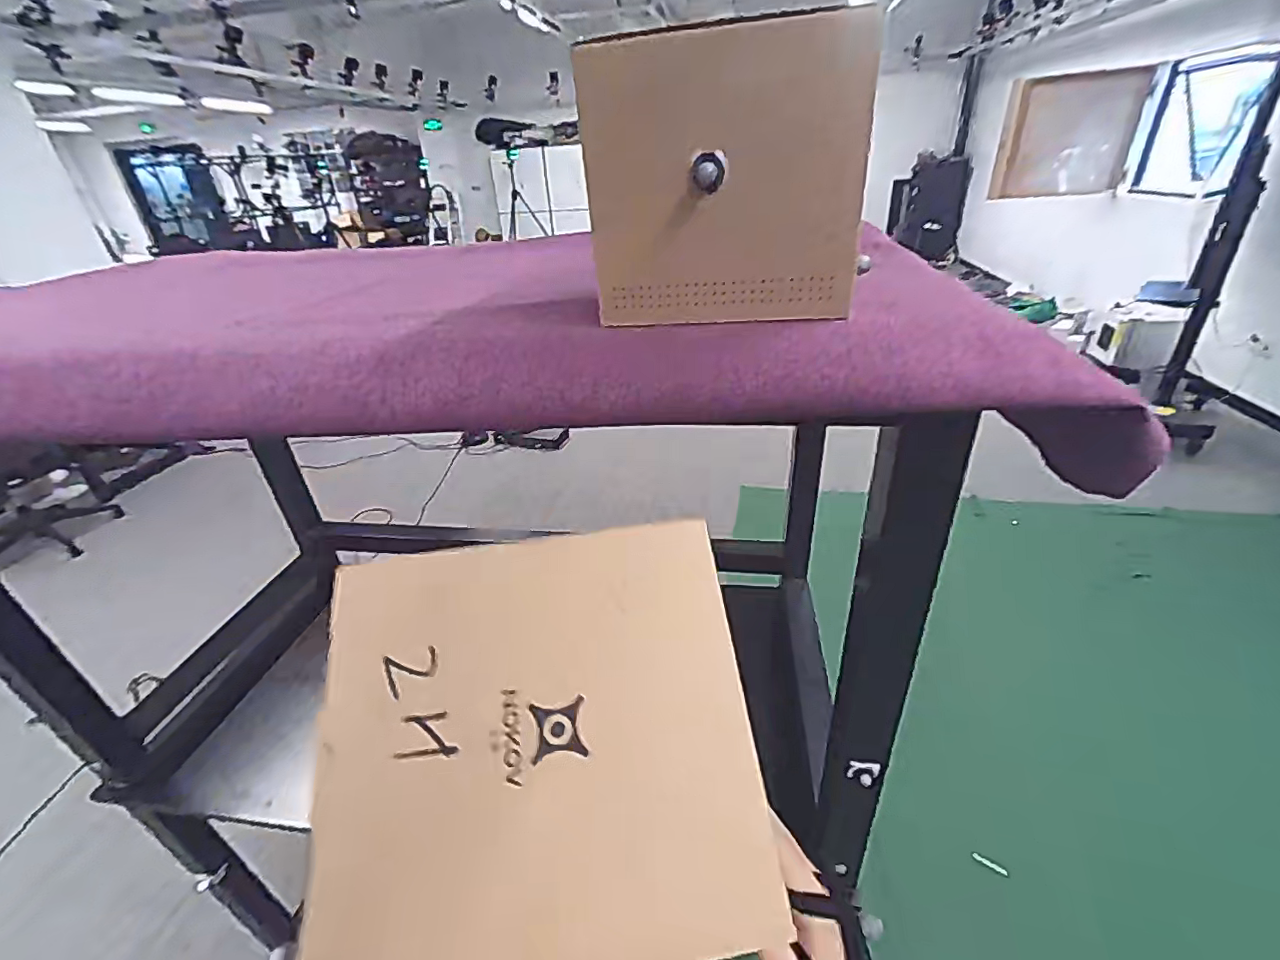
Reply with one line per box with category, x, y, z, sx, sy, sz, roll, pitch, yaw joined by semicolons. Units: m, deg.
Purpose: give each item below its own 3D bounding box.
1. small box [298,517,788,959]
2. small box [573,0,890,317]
small box;-0.044;0.135;0.295;0.179;0.176;0.168;-7;63;-5
small box;0.066;-0.226;0.404;0.179;0.176;0.168;1;31;11
